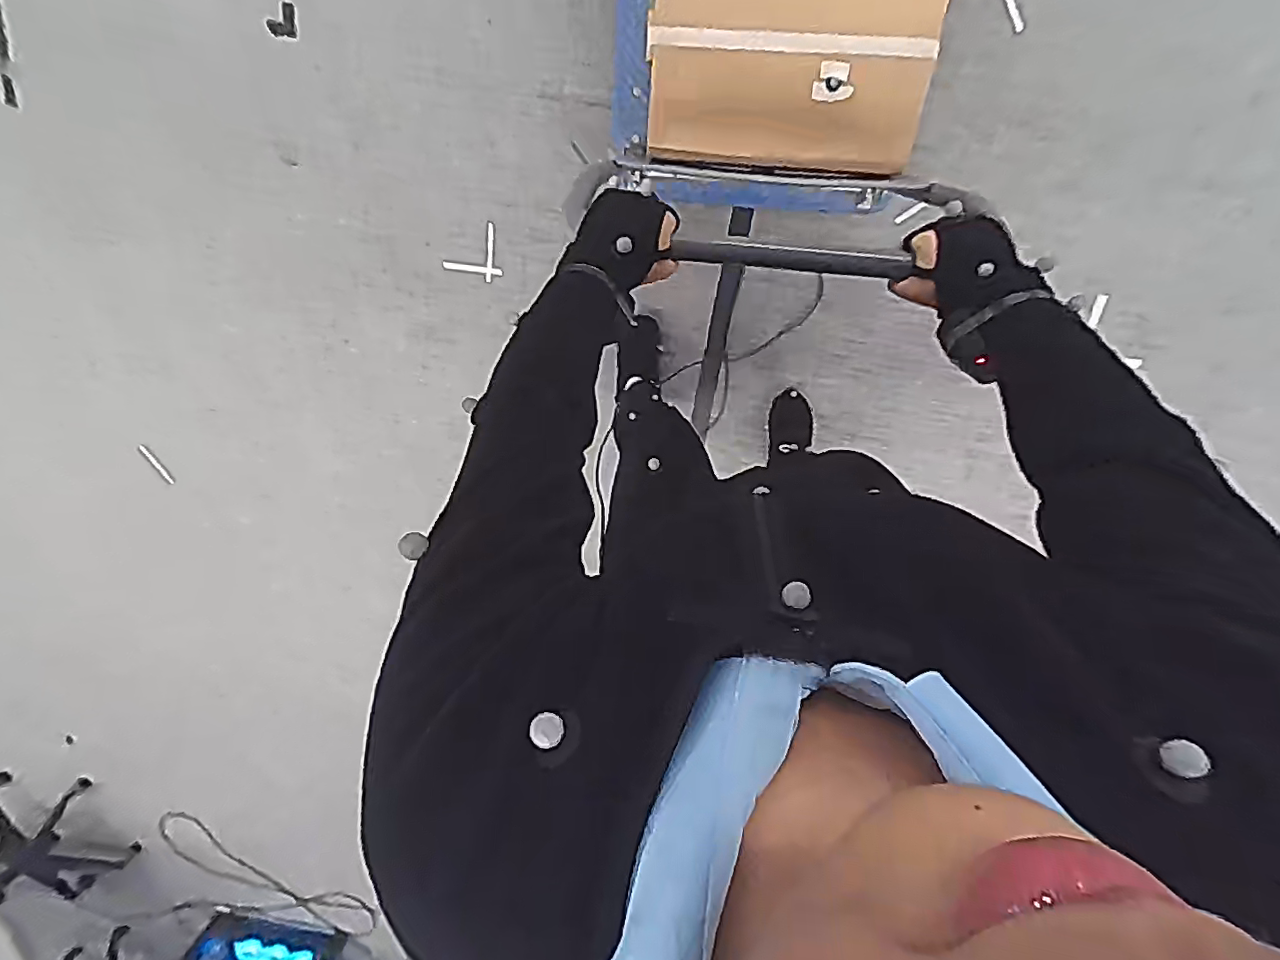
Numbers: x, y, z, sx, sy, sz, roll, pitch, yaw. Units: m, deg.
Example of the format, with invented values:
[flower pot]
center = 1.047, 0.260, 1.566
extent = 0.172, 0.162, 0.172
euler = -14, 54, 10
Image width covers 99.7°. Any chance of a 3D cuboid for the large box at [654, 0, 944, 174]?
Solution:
[large box]
center = 0.237, -0.709, 0.920
extent = 0.408, 0.320, 0.320
euler = 5, 119, 3
